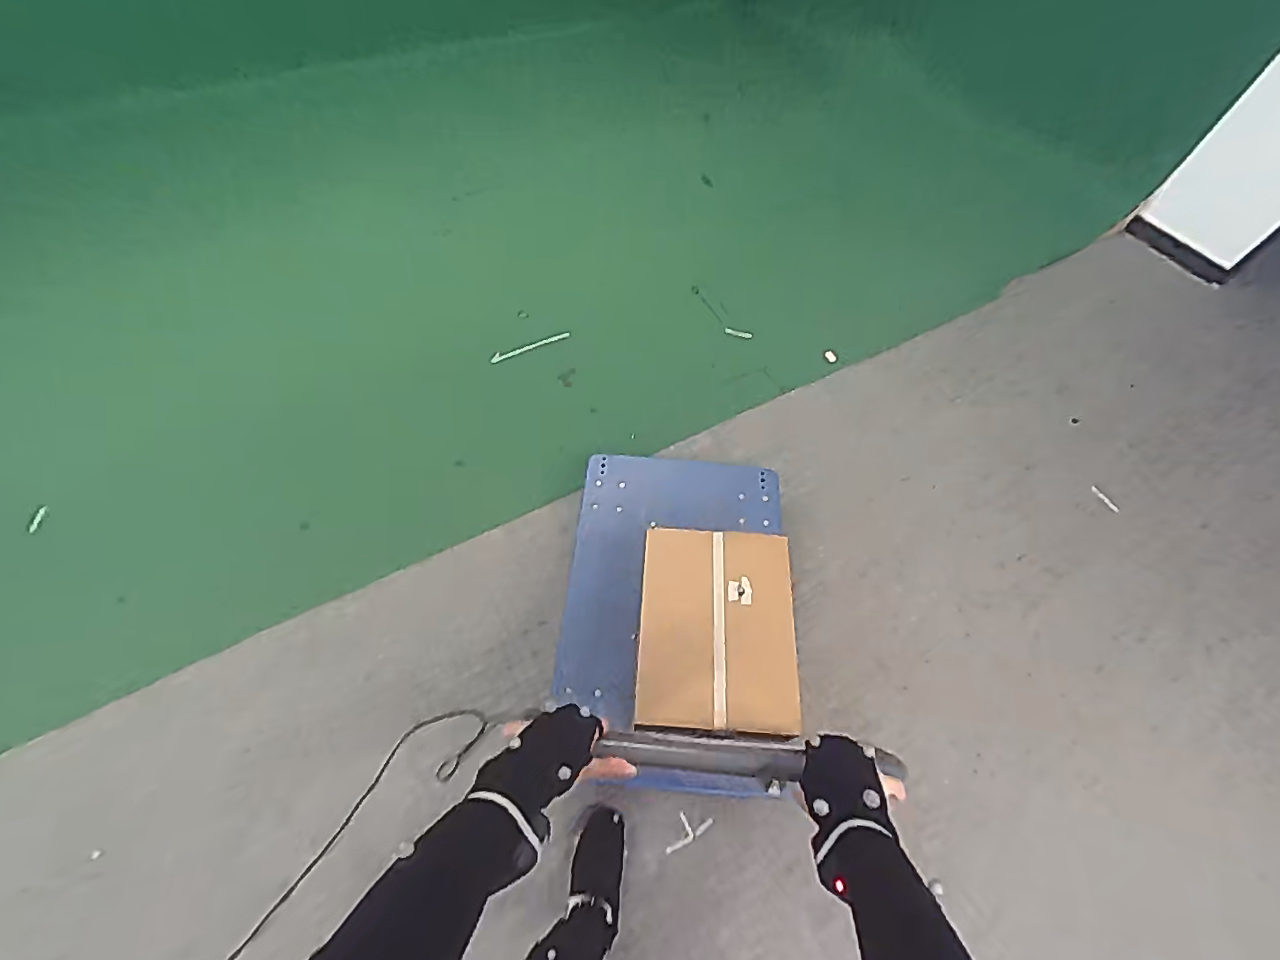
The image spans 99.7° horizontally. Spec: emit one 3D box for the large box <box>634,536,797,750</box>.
[{"bbox_3d":[0.151,0.382,1.242,0.320,0.320,0.408,4,59,0],"label":"large box"}]
